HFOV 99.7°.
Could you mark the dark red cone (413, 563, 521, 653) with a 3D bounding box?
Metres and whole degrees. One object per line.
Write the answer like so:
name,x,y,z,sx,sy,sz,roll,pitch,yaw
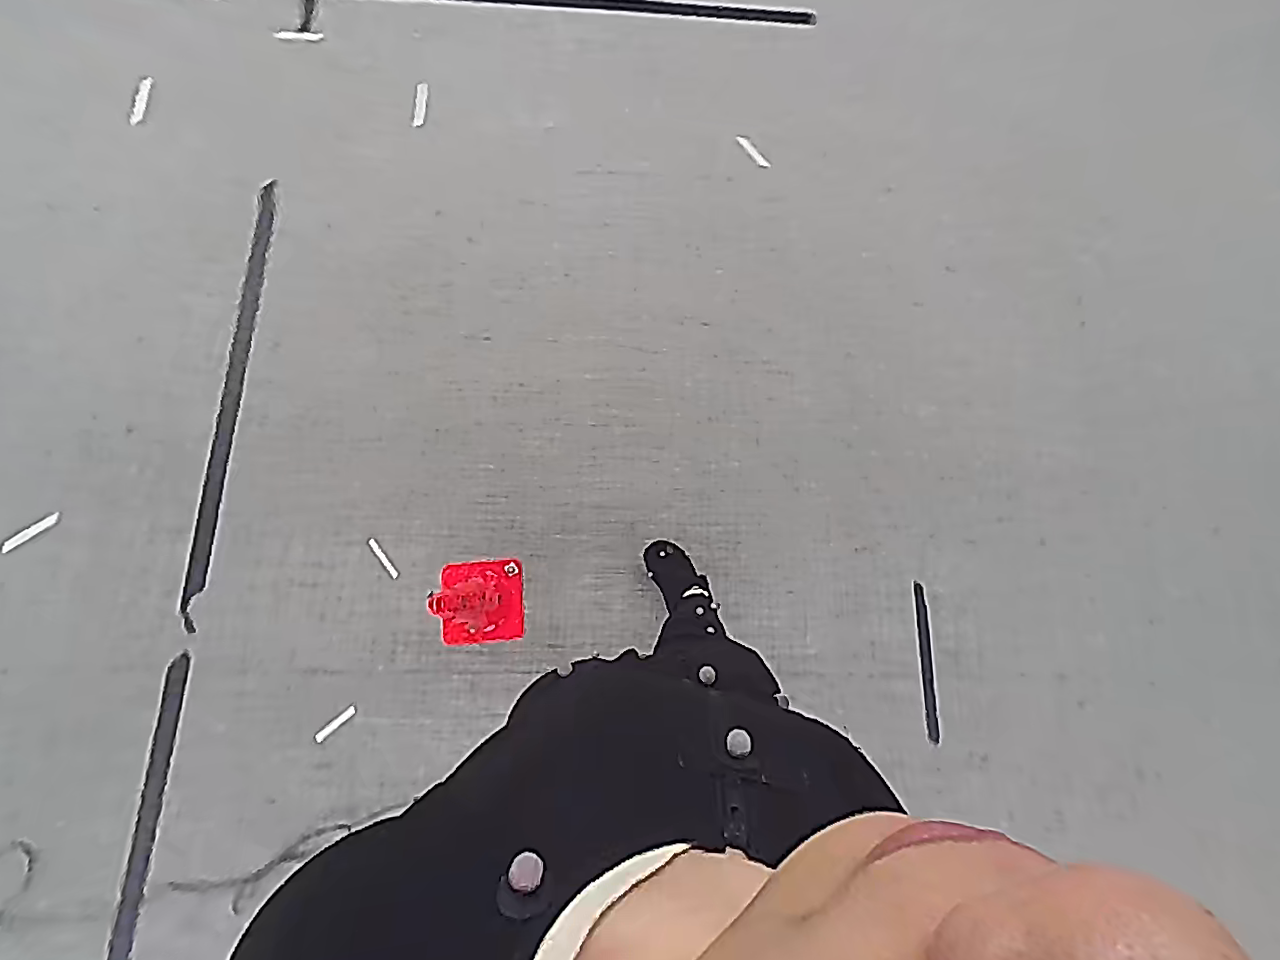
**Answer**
dark red cone,-0.385,0.273,1.138,0.201,0.394,0.202,-5,79,-3
